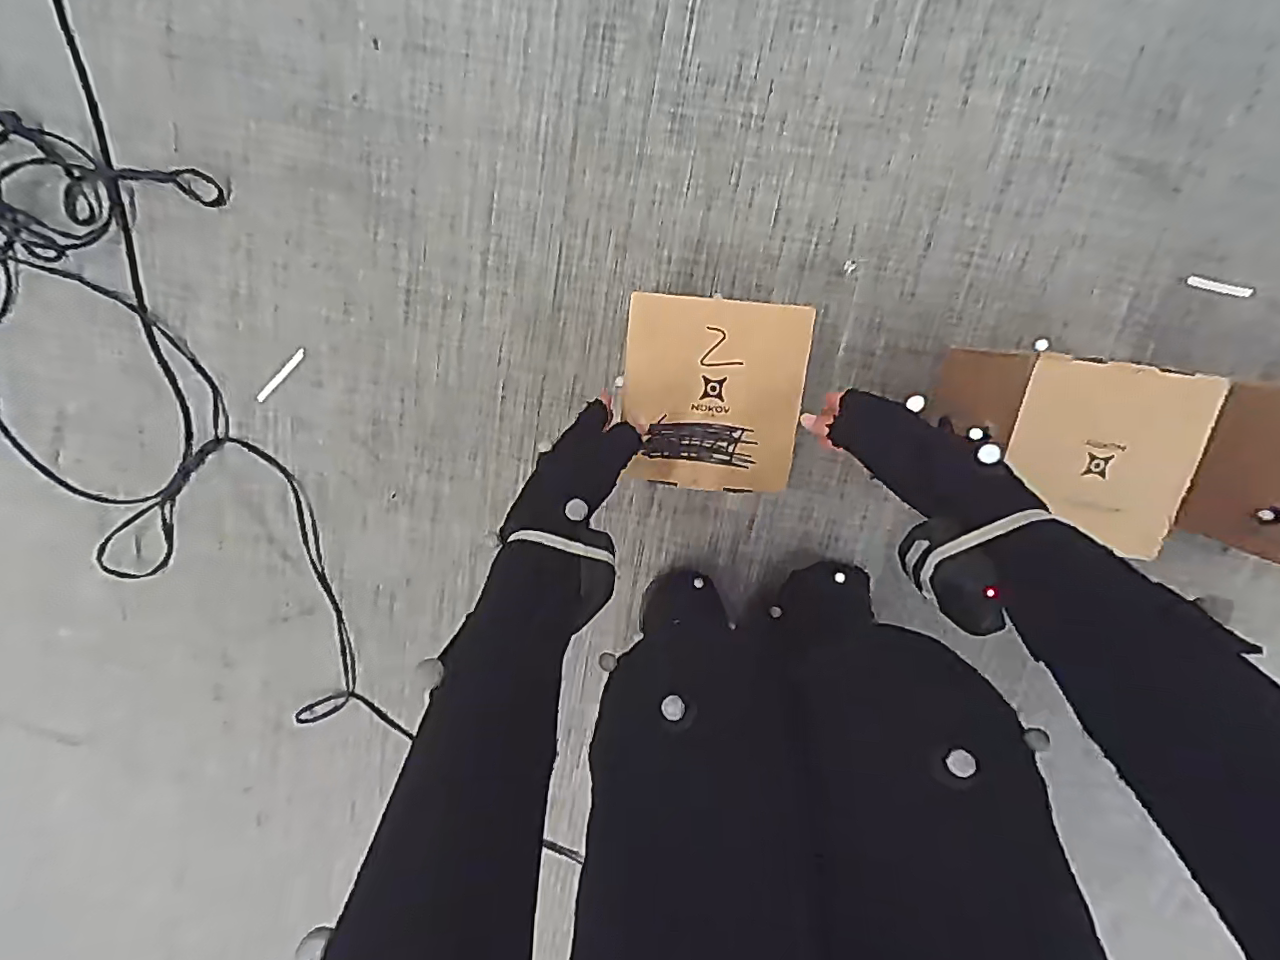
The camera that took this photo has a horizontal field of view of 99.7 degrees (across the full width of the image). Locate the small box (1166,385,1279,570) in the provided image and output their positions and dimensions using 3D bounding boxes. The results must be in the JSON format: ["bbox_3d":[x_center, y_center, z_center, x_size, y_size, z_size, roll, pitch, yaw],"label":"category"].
[{"bbox_3d":[0.702,0.007,0.566,0.168,0.176,0.179,17,105,-1],"label":"small box"}]

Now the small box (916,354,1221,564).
[{"bbox_3d":[0.420,-0.035,0.571,0.168,0.176,0.179,8,107,3],"label":"small box"}]
